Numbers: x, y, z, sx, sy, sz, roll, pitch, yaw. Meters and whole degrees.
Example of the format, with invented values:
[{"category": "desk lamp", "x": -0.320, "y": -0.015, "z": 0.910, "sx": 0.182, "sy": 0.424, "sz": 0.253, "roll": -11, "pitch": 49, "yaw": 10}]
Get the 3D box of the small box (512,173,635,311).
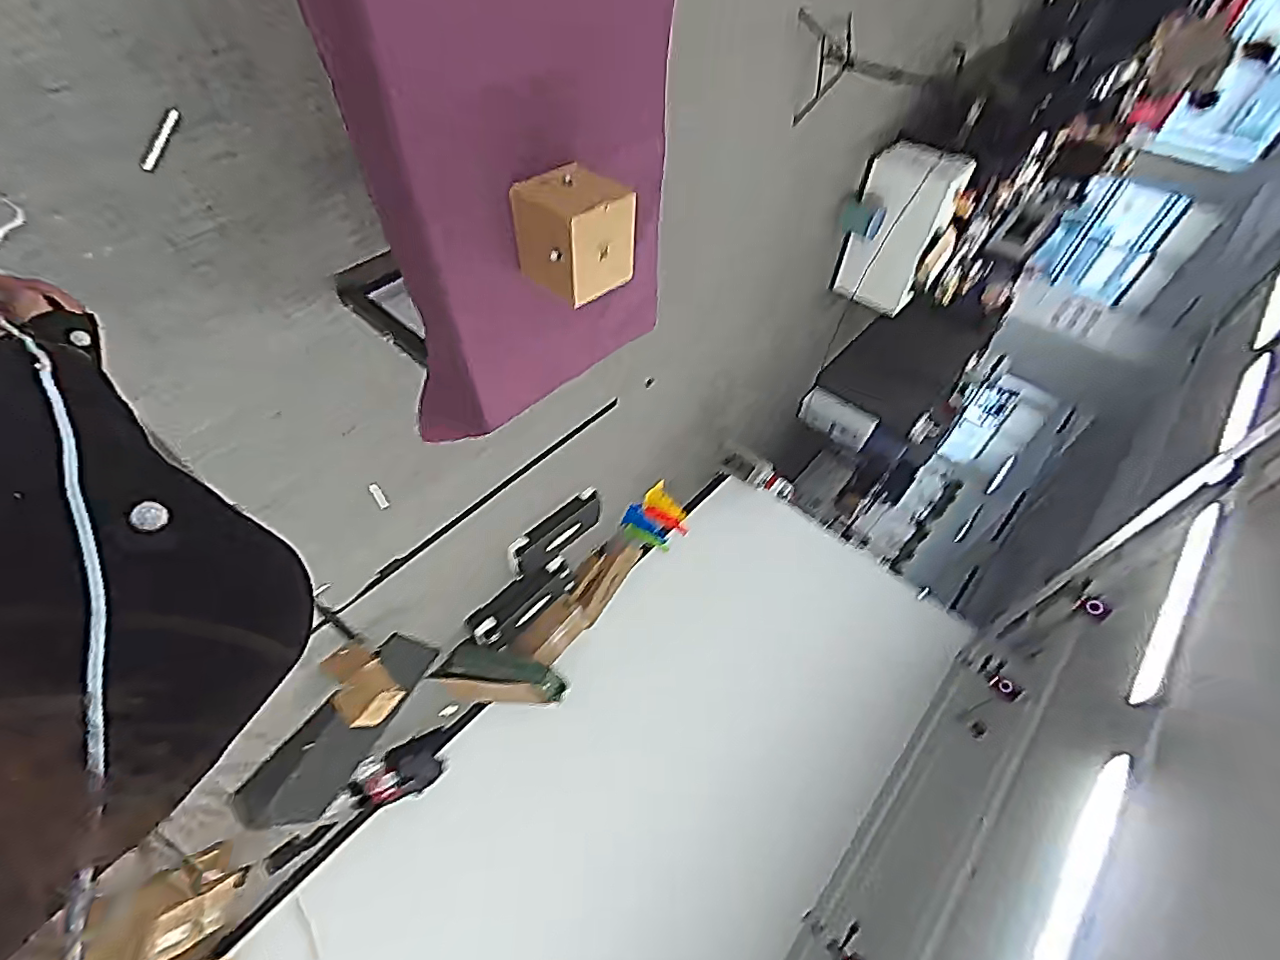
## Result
[{"category": "small box", "x": -0.130, "y": -0.470, "z": 1.065, "sx": 0.168, "sy": 0.176, "sz": 0.179, "roll": -39, "pitch": 152, "yaw": -30}]
